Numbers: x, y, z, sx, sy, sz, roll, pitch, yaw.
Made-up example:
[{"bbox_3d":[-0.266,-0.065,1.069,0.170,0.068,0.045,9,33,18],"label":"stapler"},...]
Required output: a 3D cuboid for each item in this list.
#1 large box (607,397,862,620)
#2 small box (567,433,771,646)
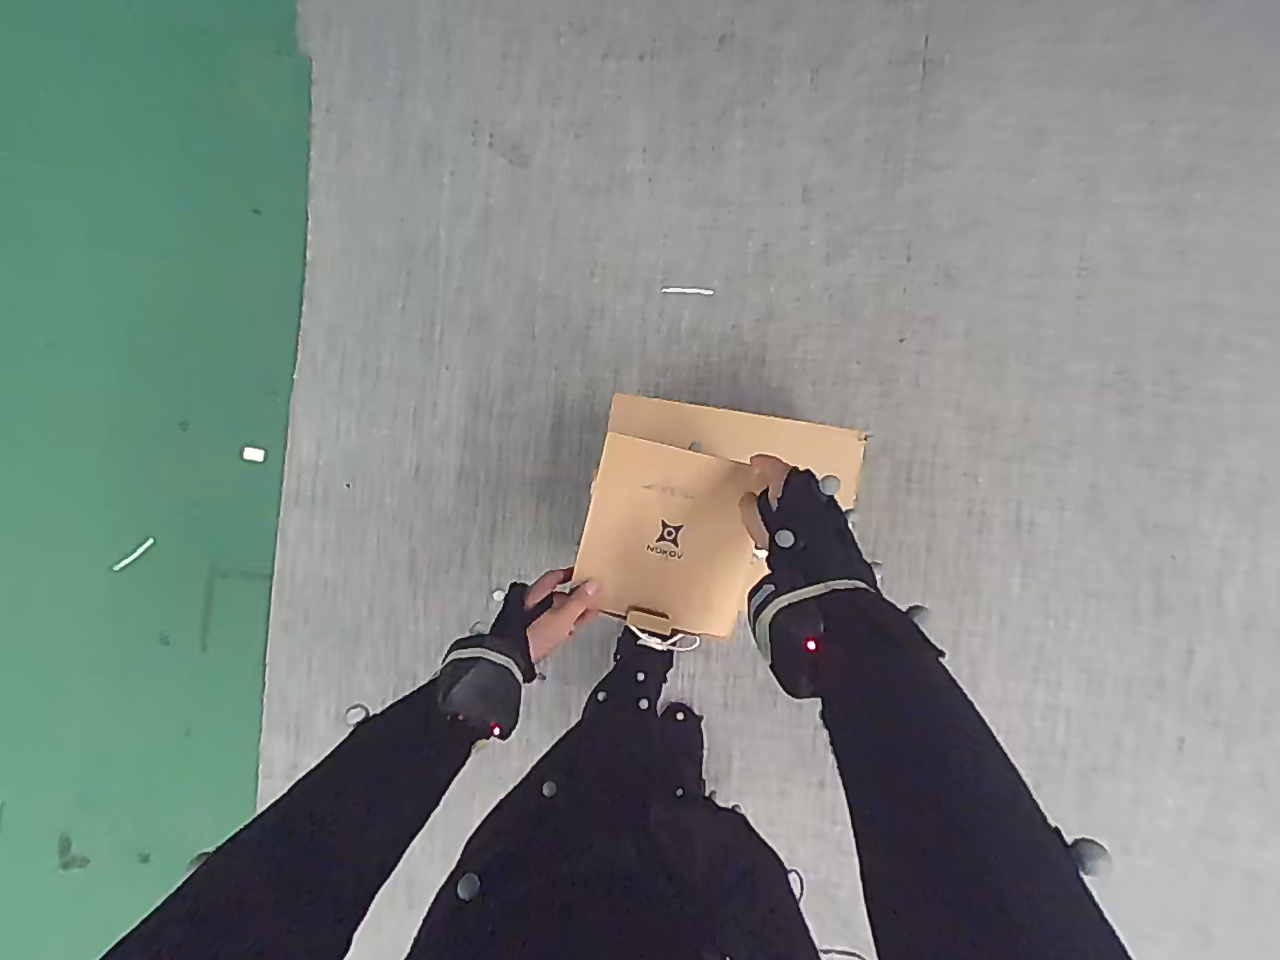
[{"bbox_3d":[0.138,0.045,1.004,0.408,0.320,0.320,9,91,3],"label":"large box"},{"bbox_3d":[0.029,0.057,0.598,0.168,0.176,0.179,13,90,1],"label":"small box"}]
